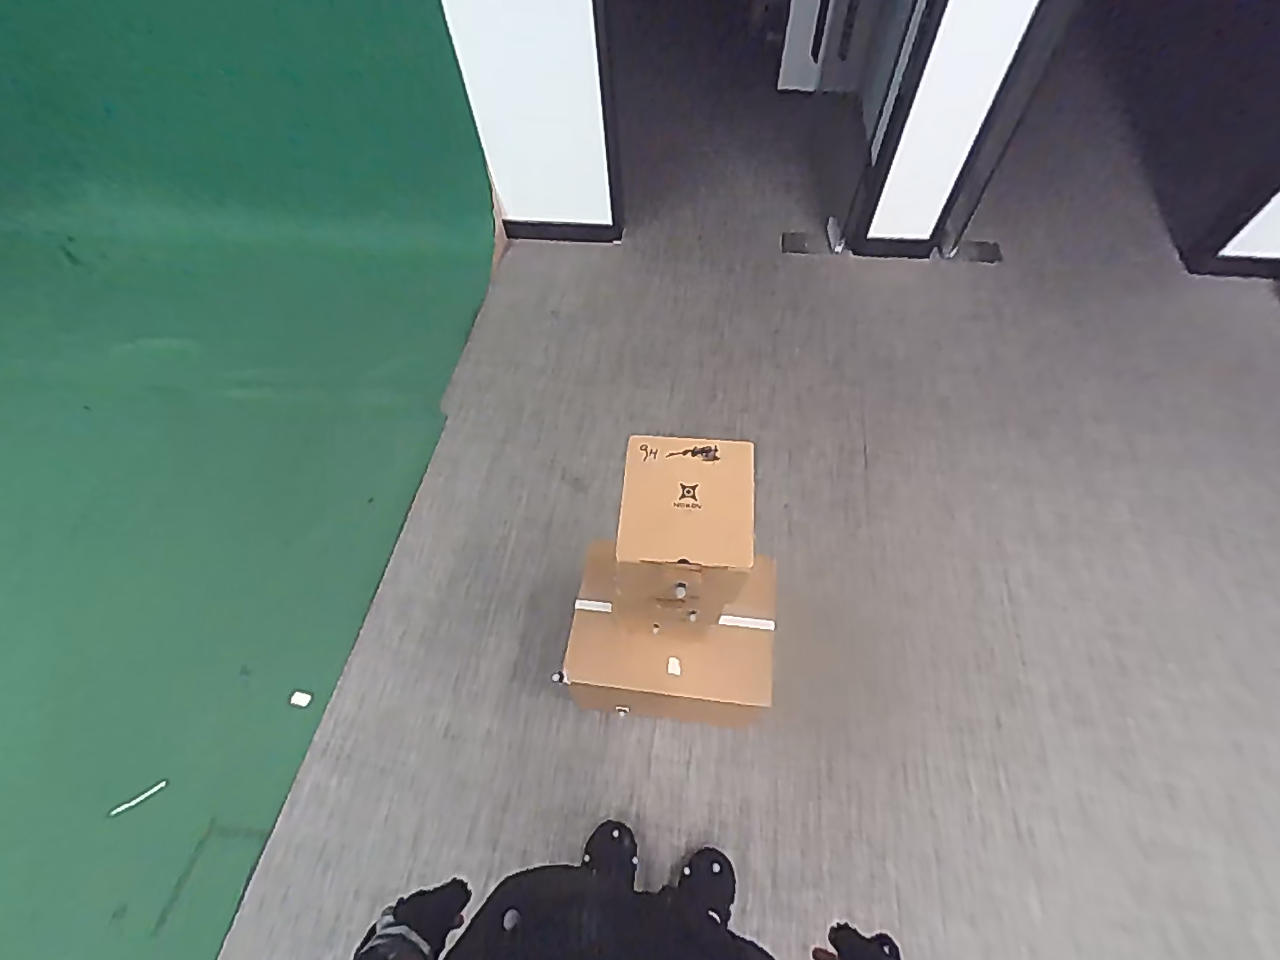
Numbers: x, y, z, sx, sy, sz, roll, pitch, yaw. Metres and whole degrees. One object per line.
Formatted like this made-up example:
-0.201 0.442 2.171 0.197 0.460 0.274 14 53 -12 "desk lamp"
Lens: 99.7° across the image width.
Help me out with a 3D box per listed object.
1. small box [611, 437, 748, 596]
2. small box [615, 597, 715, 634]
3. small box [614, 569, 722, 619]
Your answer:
0.058 0.058 0.754 0.168 0.176 0.179 3 66 5 "small box"
0.055 0.198 1.048 0.179 0.176 0.168 5 66 6 "small box"
0.053 0.127 0.902 0.168 0.176 0.179 3 64 4 "small box"
